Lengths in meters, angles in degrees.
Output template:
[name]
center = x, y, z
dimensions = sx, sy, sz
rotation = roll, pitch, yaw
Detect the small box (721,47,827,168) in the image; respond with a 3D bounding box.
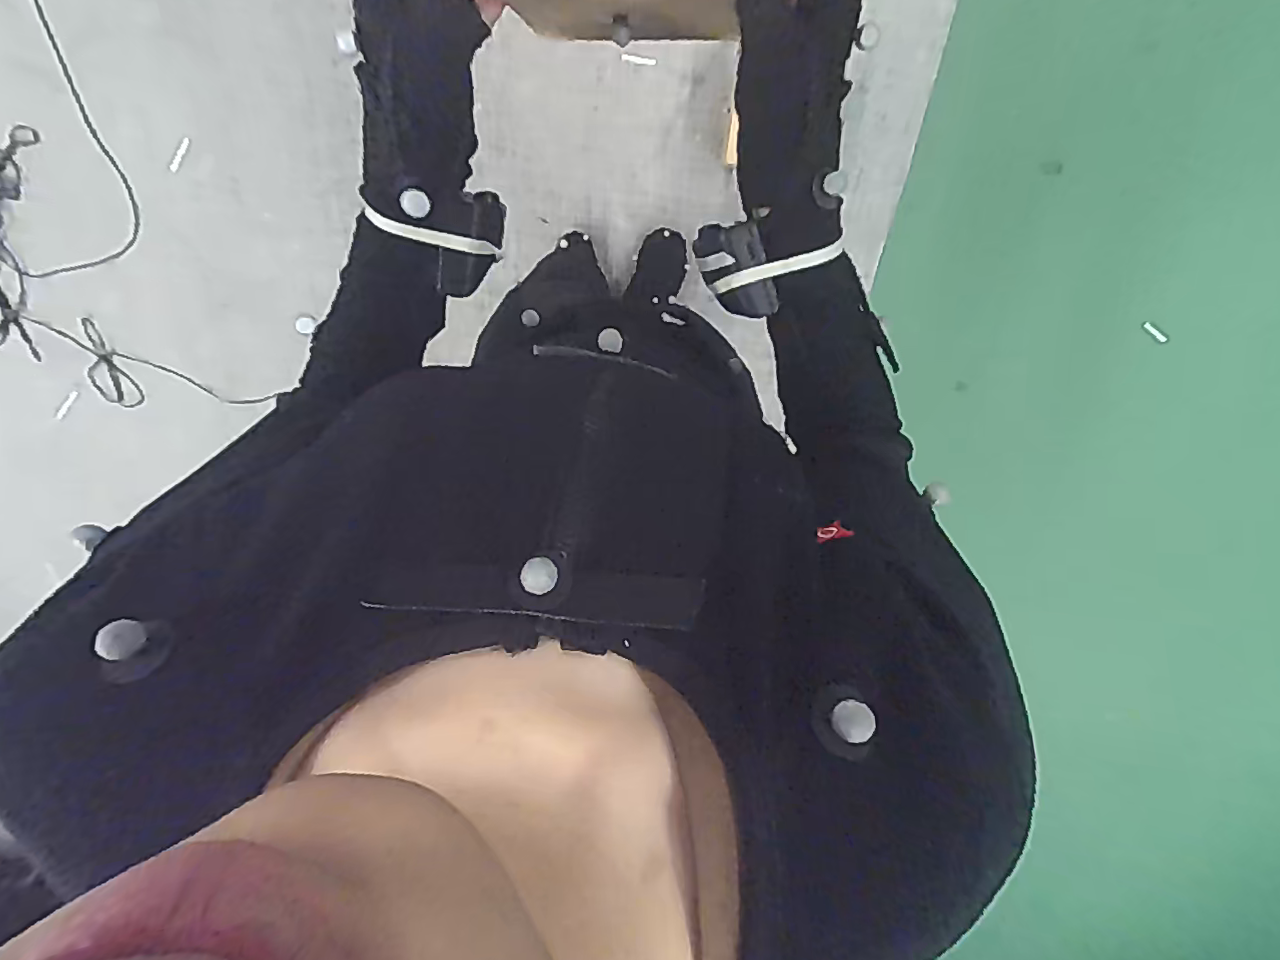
[small box]
center = 0.257, -0.735, 1.086
dimensions = 0.168, 0.176, 0.179
rotation = 6, 118, 1
